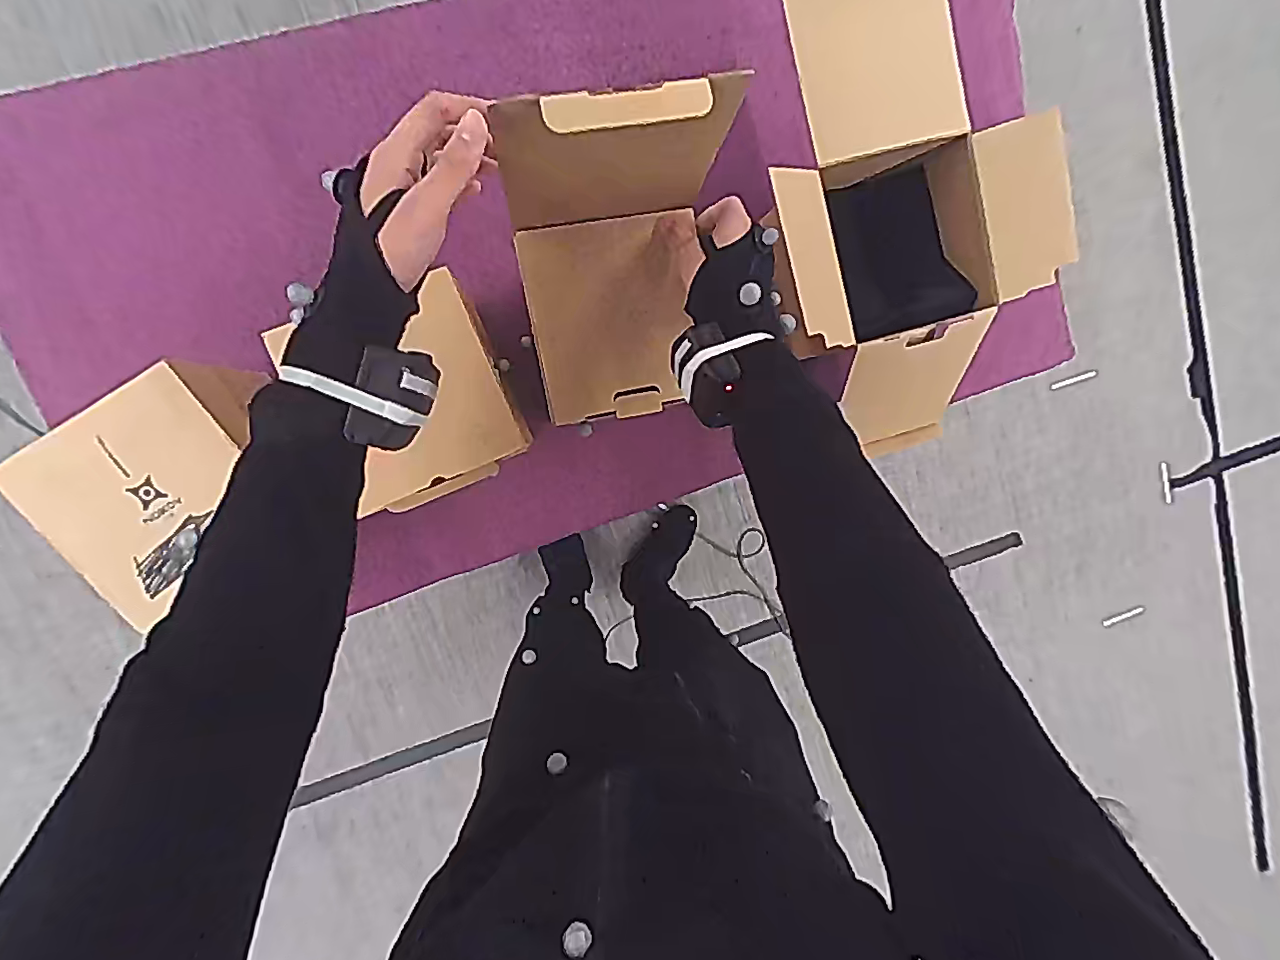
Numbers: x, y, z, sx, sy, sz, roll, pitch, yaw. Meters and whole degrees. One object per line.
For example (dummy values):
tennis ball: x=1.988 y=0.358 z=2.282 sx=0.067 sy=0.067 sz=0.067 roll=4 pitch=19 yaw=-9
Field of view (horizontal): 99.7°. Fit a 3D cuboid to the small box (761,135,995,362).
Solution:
small box: x=0.252 y=-0.243 z=0.608 sx=0.168 sy=0.176 sz=0.179 roll=-16 pitch=99 yaw=-6
